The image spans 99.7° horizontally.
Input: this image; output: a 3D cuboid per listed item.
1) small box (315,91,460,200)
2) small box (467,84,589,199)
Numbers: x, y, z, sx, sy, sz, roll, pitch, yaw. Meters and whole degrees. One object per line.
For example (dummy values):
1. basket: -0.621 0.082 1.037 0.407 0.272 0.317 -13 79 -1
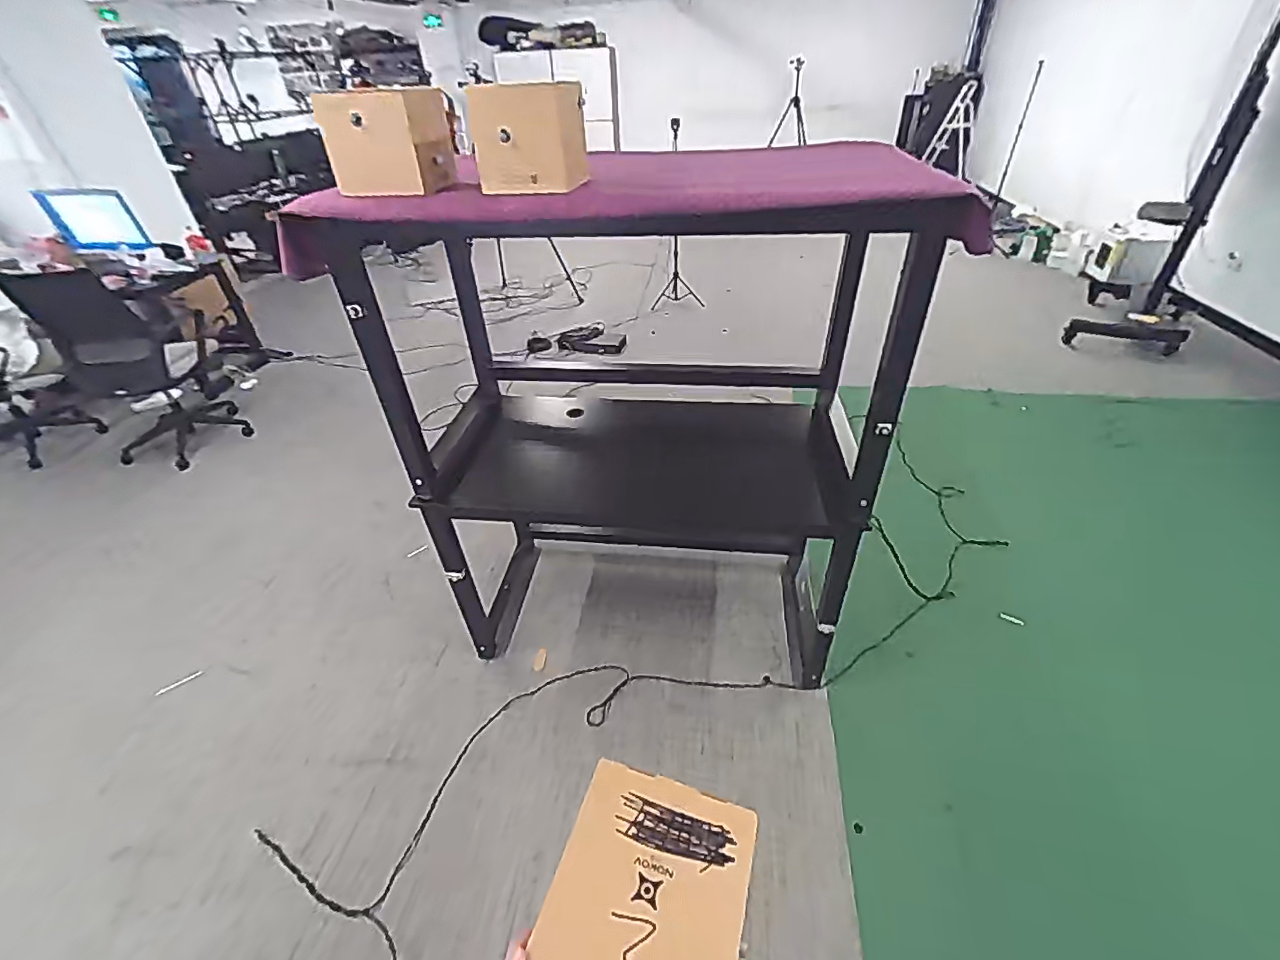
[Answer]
1. small box: -0.476 -0.648 1.049 0.179 0.176 0.168 4 37 7
2. small box: -0.196 -0.629 1.010 0.168 0.176 0.179 3 36 8
